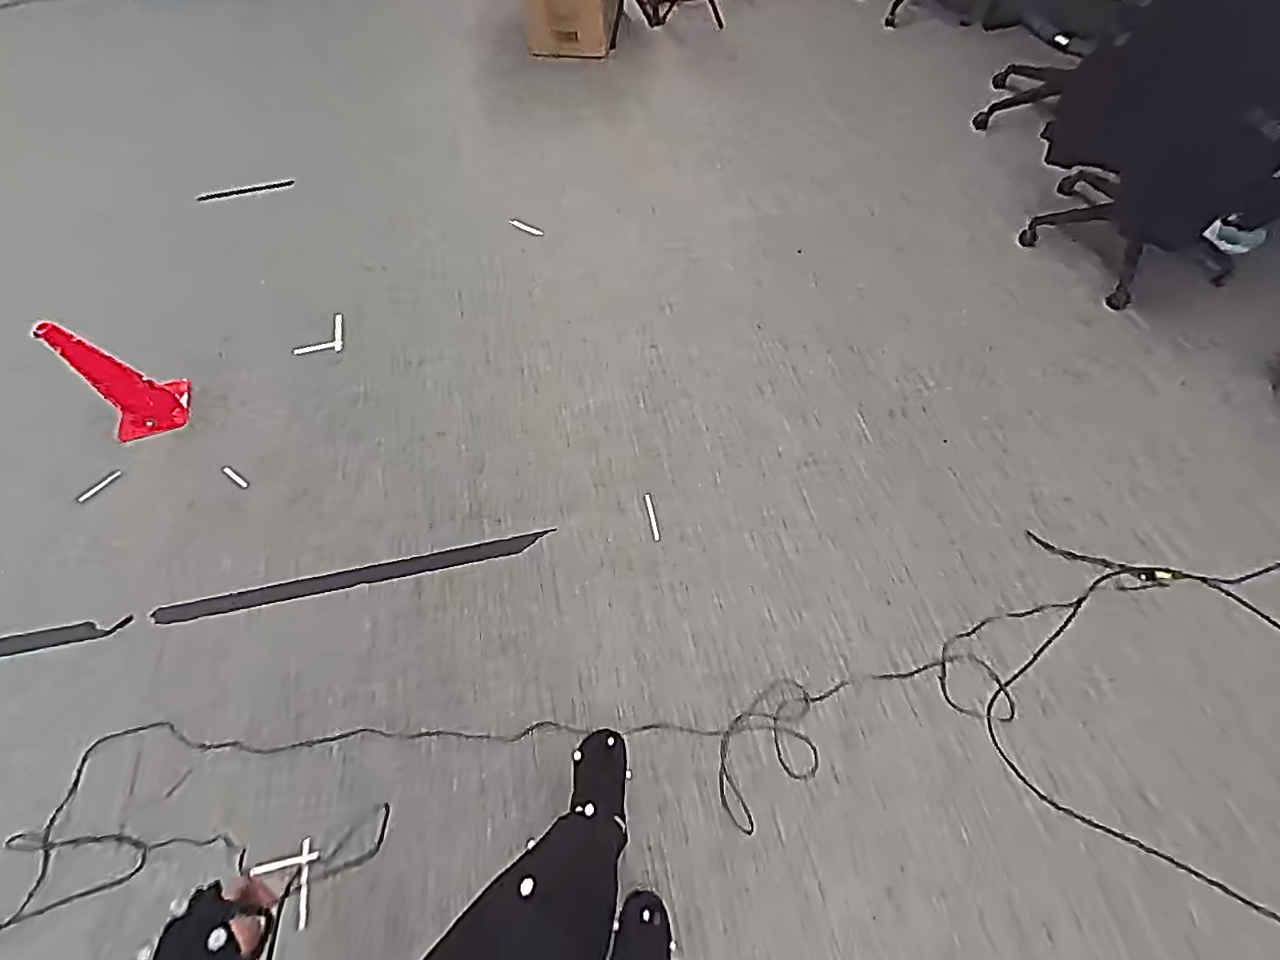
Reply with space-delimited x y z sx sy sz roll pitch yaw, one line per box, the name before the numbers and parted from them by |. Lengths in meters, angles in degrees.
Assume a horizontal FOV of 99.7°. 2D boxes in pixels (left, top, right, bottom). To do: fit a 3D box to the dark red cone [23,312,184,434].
dark red cone | -1.529 -0.316 1.527 0.202 0.394 0.201 -18 62 -8
